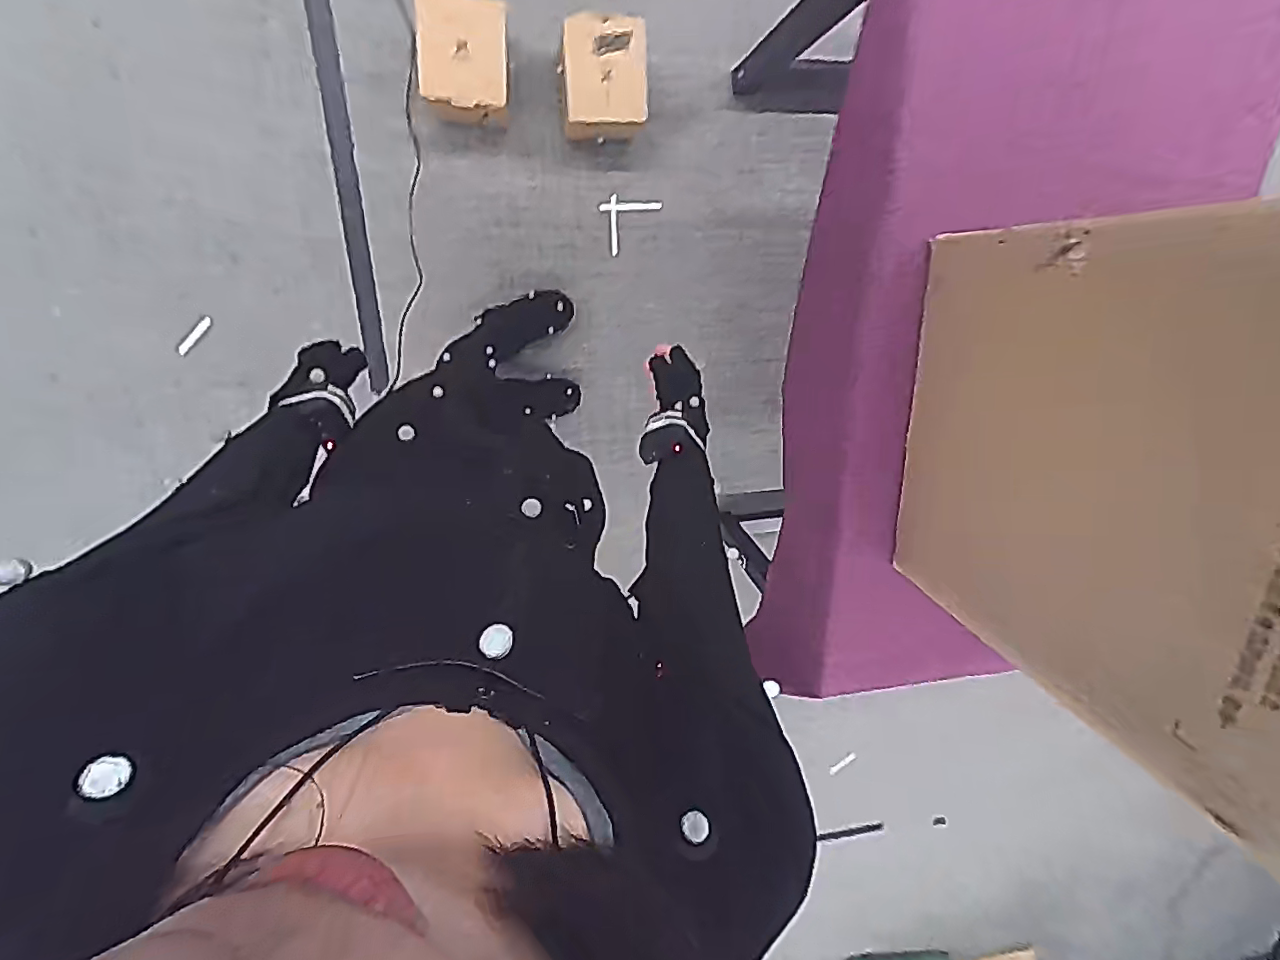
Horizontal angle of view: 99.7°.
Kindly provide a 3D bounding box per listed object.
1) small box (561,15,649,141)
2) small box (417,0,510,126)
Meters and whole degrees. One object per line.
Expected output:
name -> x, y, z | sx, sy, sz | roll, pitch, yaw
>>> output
small box -> -0.078, -0.846, 1.153 | 0.168, 0.176, 0.179 | -5, 111, -9
small box -> -0.352, -0.850, 1.102 | 0.168, 0.176, 0.179 | 0, 109, -13
